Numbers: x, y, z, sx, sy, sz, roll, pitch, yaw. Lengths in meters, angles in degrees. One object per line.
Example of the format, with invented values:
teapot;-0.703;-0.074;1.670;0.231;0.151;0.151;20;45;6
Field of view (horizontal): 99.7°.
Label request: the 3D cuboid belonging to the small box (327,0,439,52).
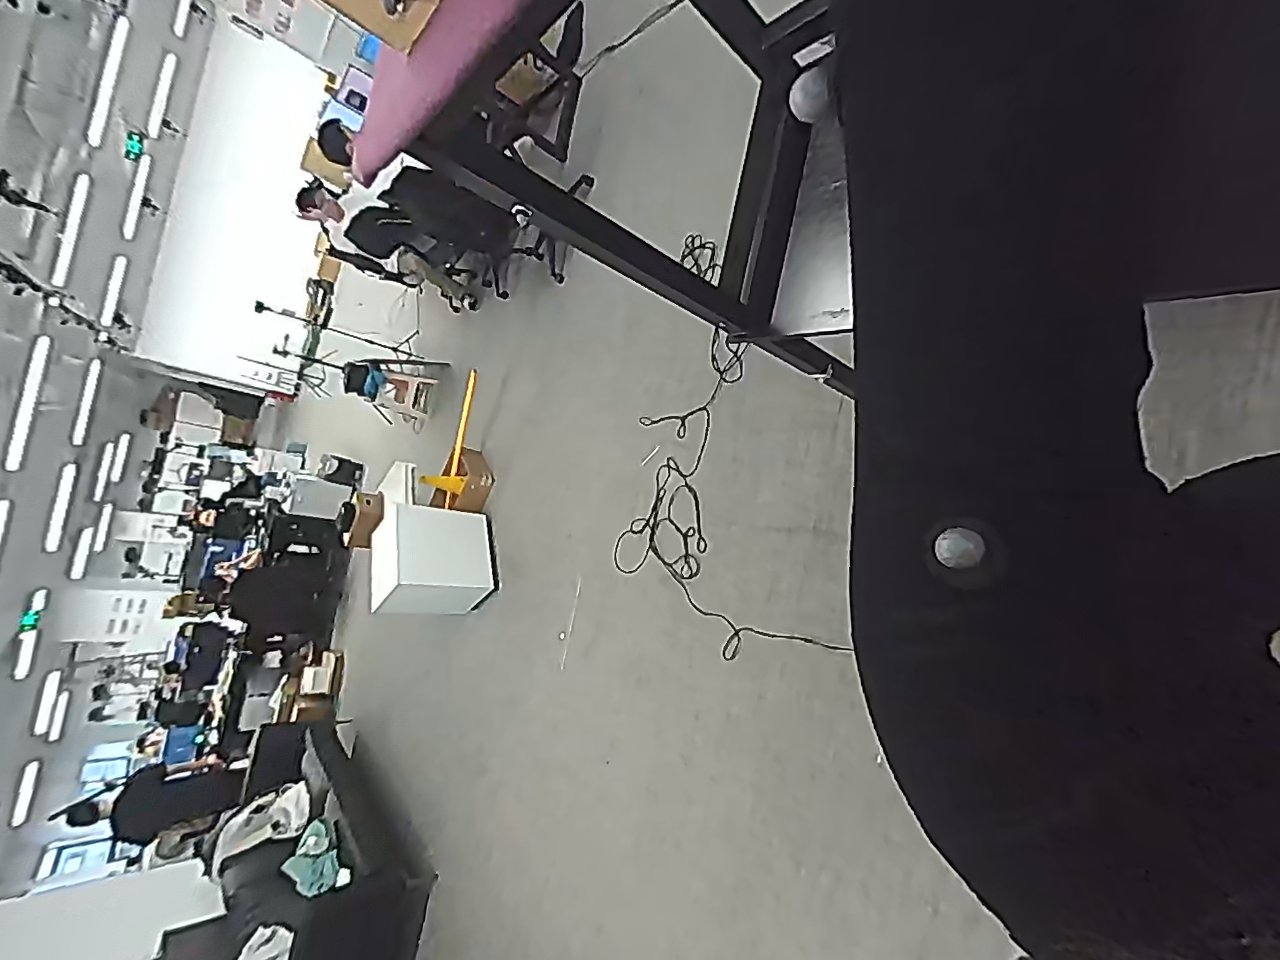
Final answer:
small box;-0.246;-0.542;0.471;0.168;0.176;0.179;5;84;51
